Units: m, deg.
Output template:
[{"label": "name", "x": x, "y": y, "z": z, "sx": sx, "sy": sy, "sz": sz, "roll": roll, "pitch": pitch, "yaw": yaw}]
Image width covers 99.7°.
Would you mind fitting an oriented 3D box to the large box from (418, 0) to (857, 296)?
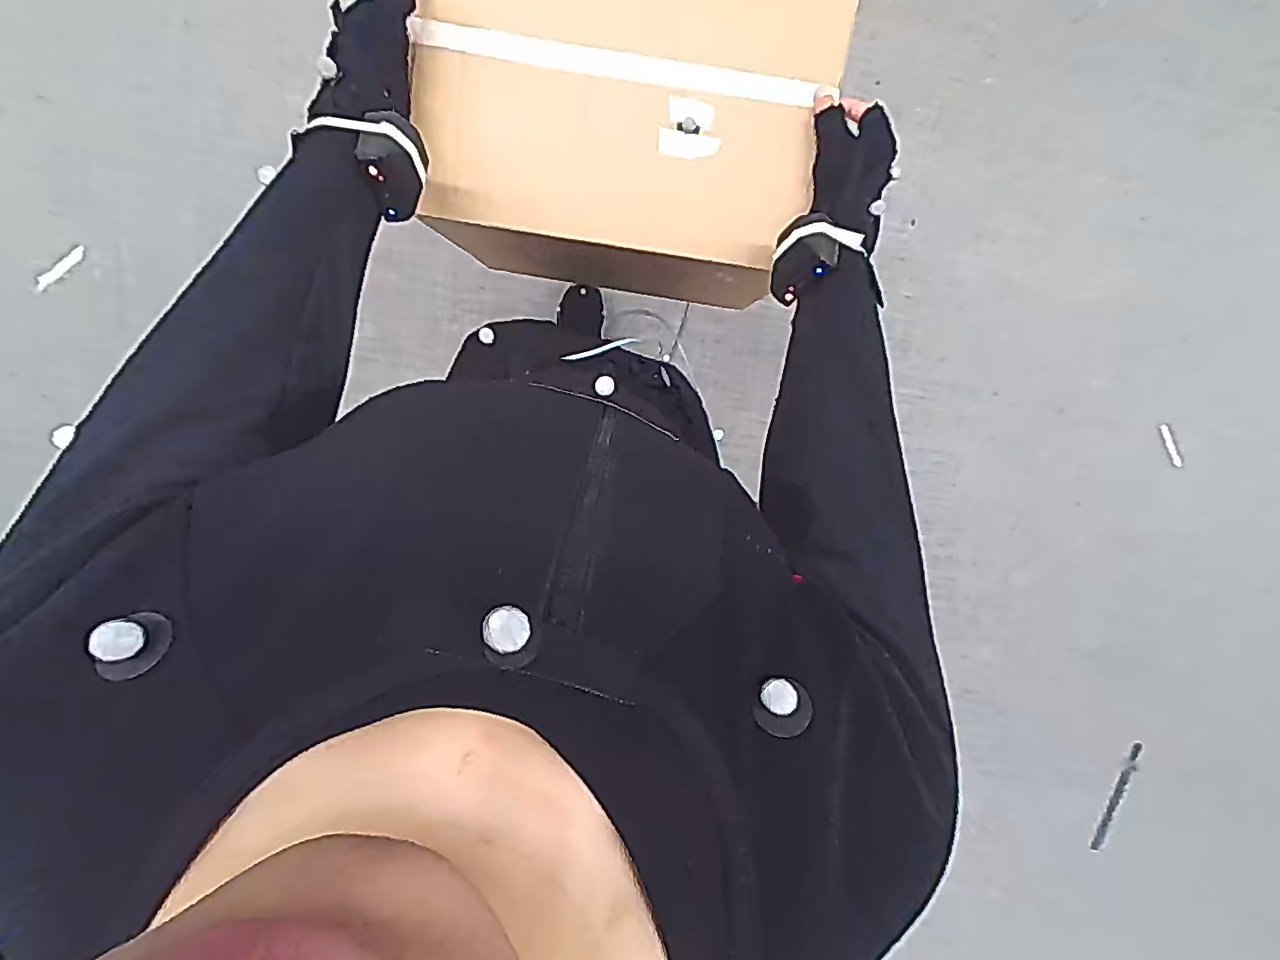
[{"label": "large box", "x": -0.007, "y": -0.430, "z": 0.660, "sx": 0.408, "sy": 0.320, "sz": 0.320, "roll": 9, "pitch": 102, "yaw": -3}]
